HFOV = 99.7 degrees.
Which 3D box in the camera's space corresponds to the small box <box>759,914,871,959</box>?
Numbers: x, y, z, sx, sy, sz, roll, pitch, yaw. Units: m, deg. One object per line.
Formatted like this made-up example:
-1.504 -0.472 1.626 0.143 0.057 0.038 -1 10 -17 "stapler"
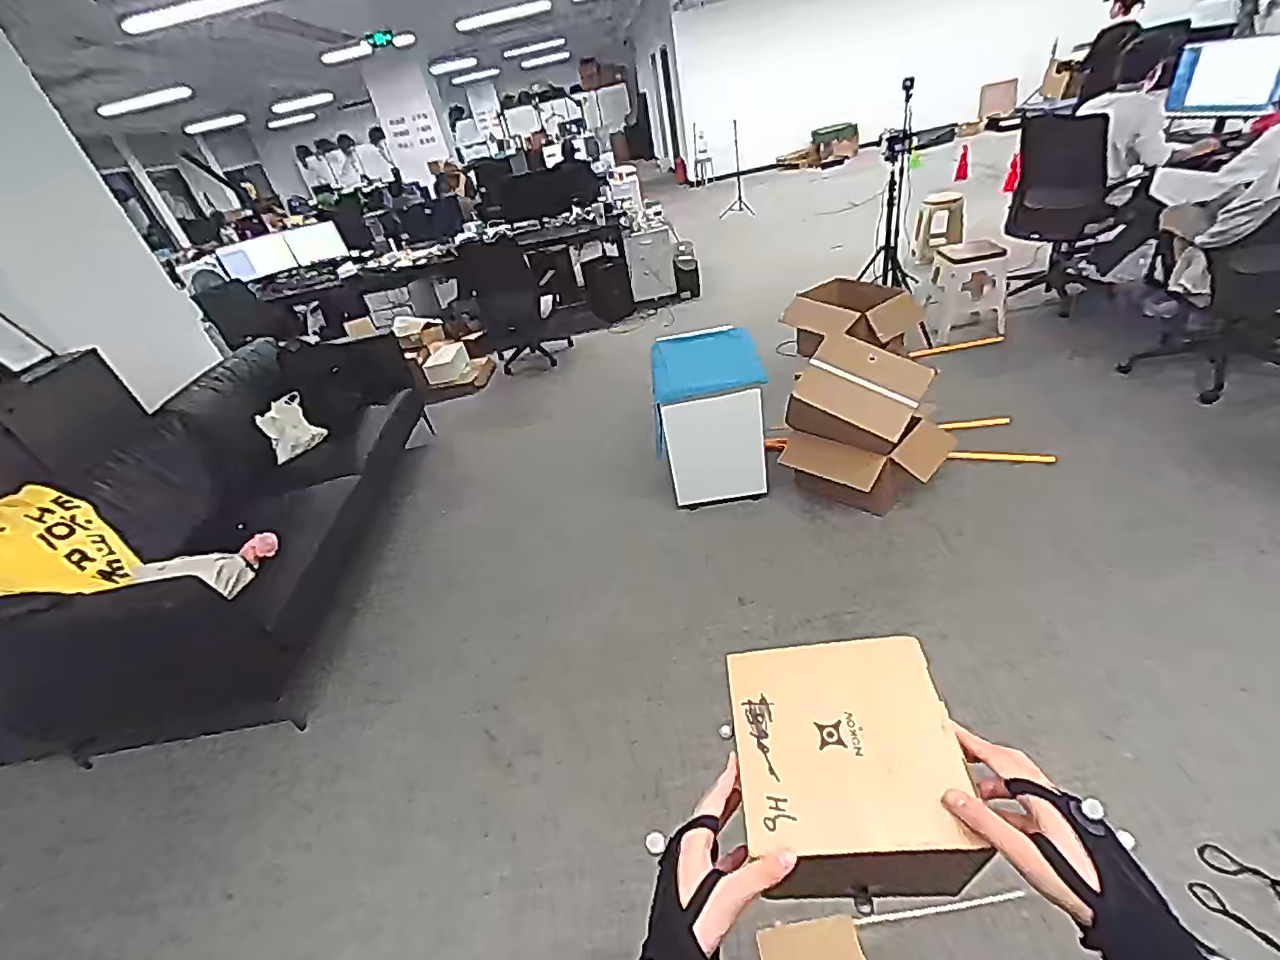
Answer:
0.318 0.888 0.932 0.179 0.176 0.168 -12 35 3 "small box"
